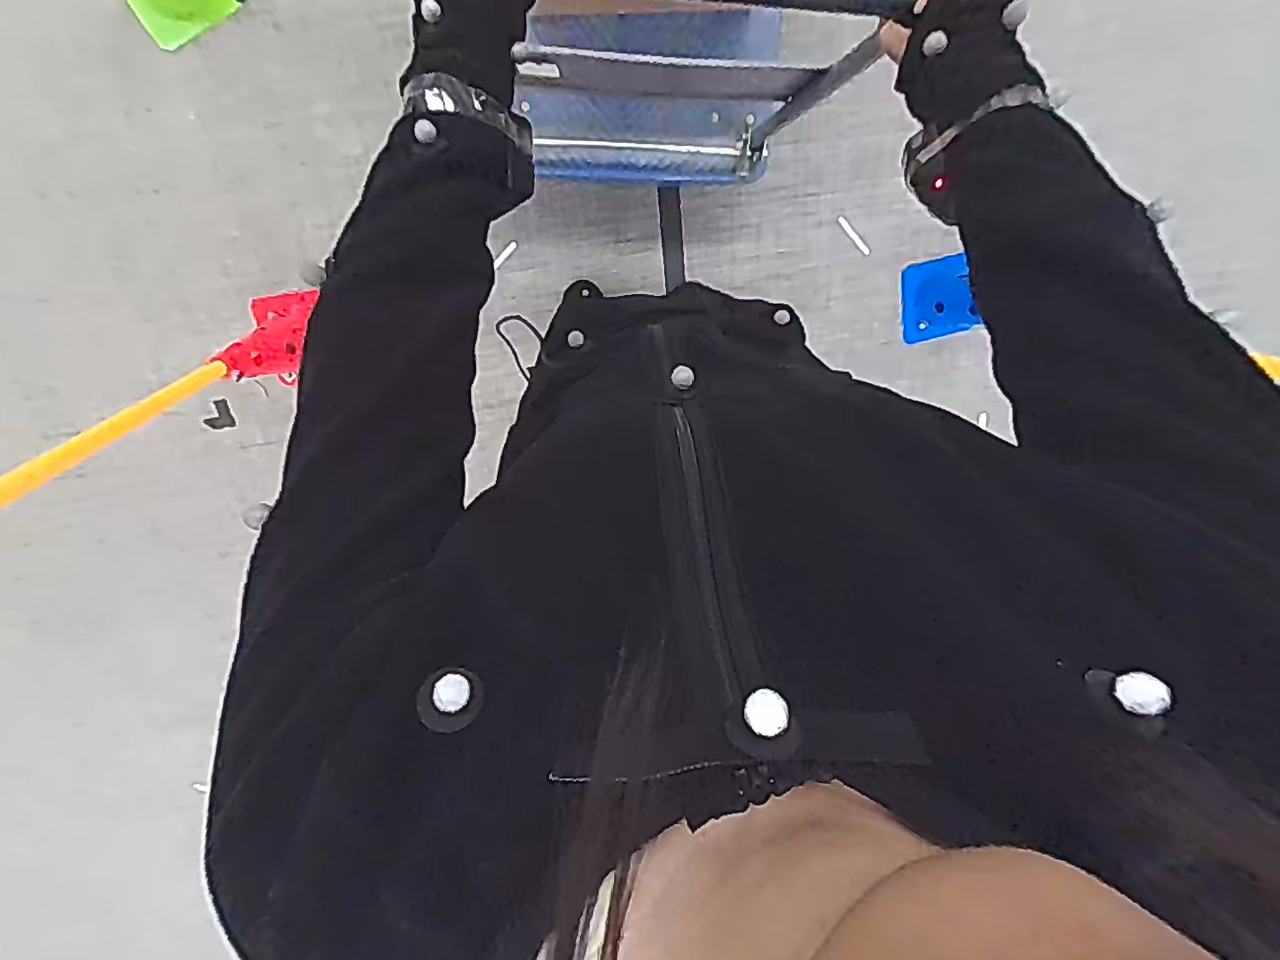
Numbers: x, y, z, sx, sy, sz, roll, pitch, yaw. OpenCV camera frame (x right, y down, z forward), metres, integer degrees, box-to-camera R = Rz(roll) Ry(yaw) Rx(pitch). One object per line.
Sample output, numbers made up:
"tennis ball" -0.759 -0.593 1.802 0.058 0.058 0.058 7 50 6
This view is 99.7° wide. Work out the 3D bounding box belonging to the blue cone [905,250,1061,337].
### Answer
"blue cone" 0.796 -0.416 1.242 0.193 0.380 0.192 -13 113 -2
